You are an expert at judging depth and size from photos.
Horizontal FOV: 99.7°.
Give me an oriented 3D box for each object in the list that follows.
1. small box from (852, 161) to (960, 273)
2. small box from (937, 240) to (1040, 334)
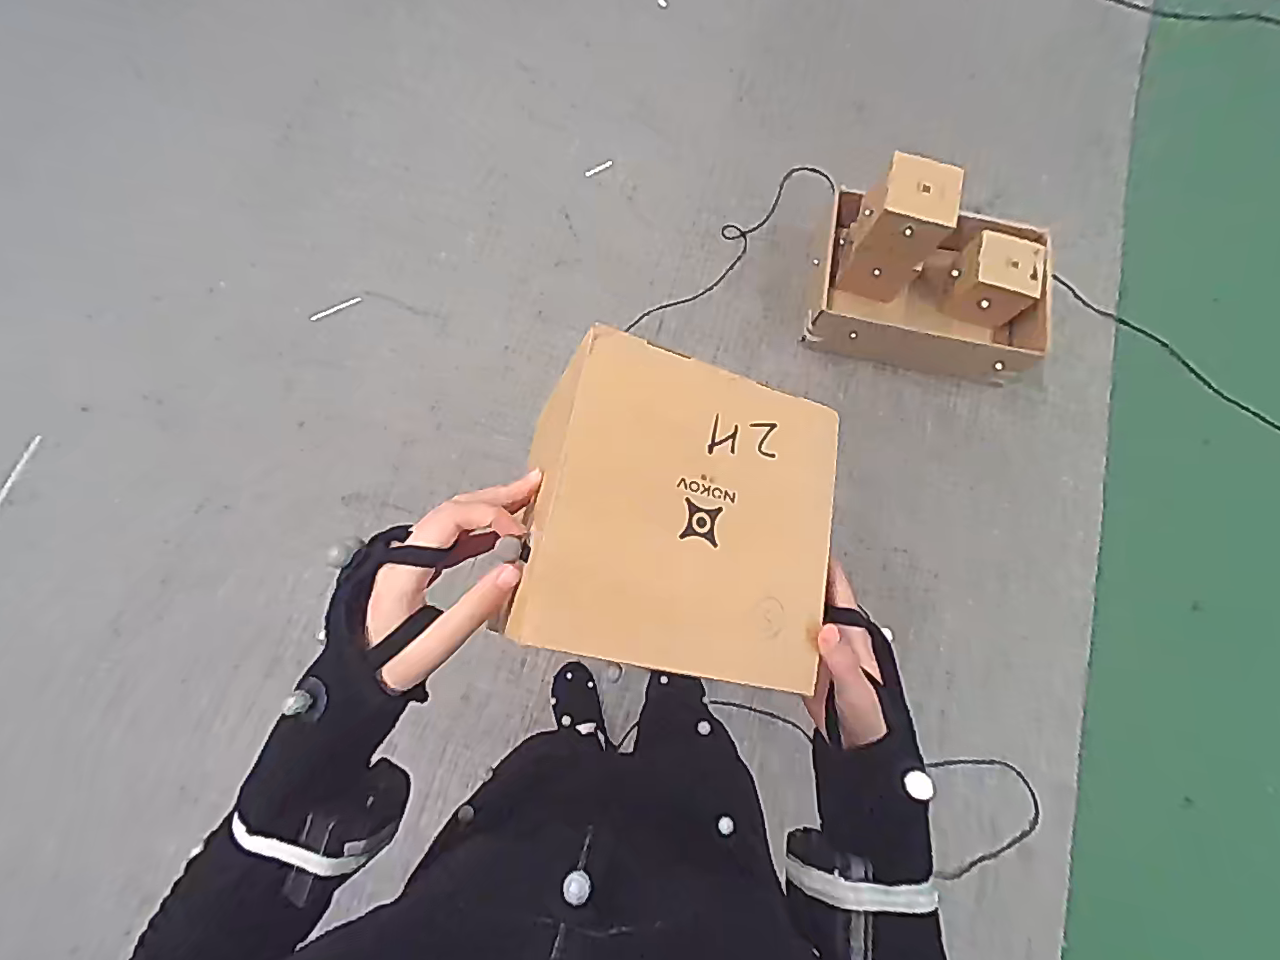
[{"bbox_3d":[0.658,-0.650,1.356,0.179,0.176,0.168,16,78,-2],"label":"small box"},{"bbox_3d":[0.972,-0.535,1.520,0.179,0.176,0.168,16,76,1],"label":"small box"}]
